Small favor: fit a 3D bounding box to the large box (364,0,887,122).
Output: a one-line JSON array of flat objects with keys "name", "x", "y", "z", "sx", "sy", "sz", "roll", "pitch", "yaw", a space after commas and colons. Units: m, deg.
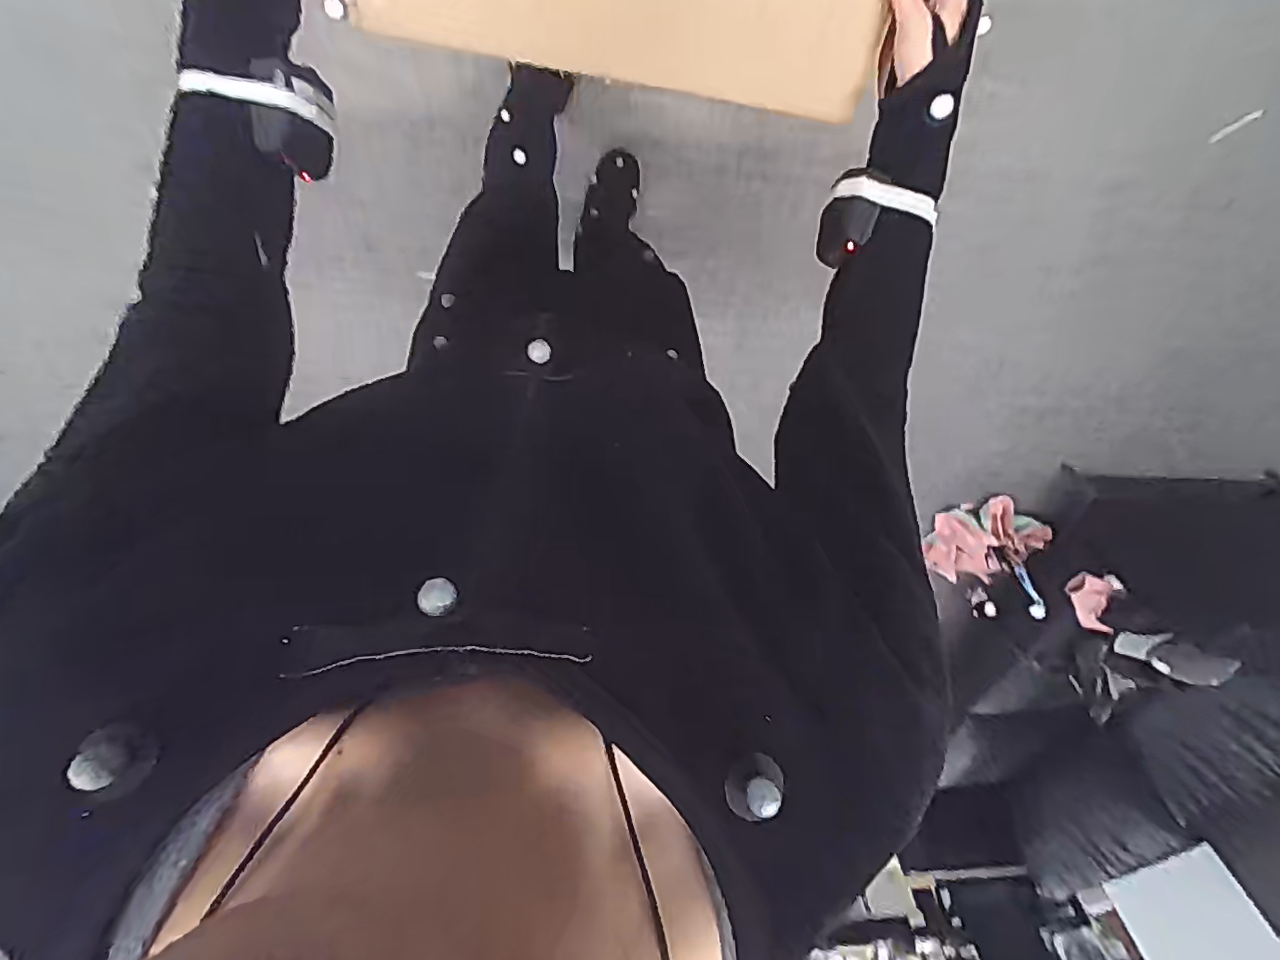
[{"name": "large box", "x": -0.001, "y": -0.539, "z": 0.452, "sx": 0.408, "sy": 0.320, "sz": 0.320, "roll": 3, "pitch": 132, "yaw": -10}]
